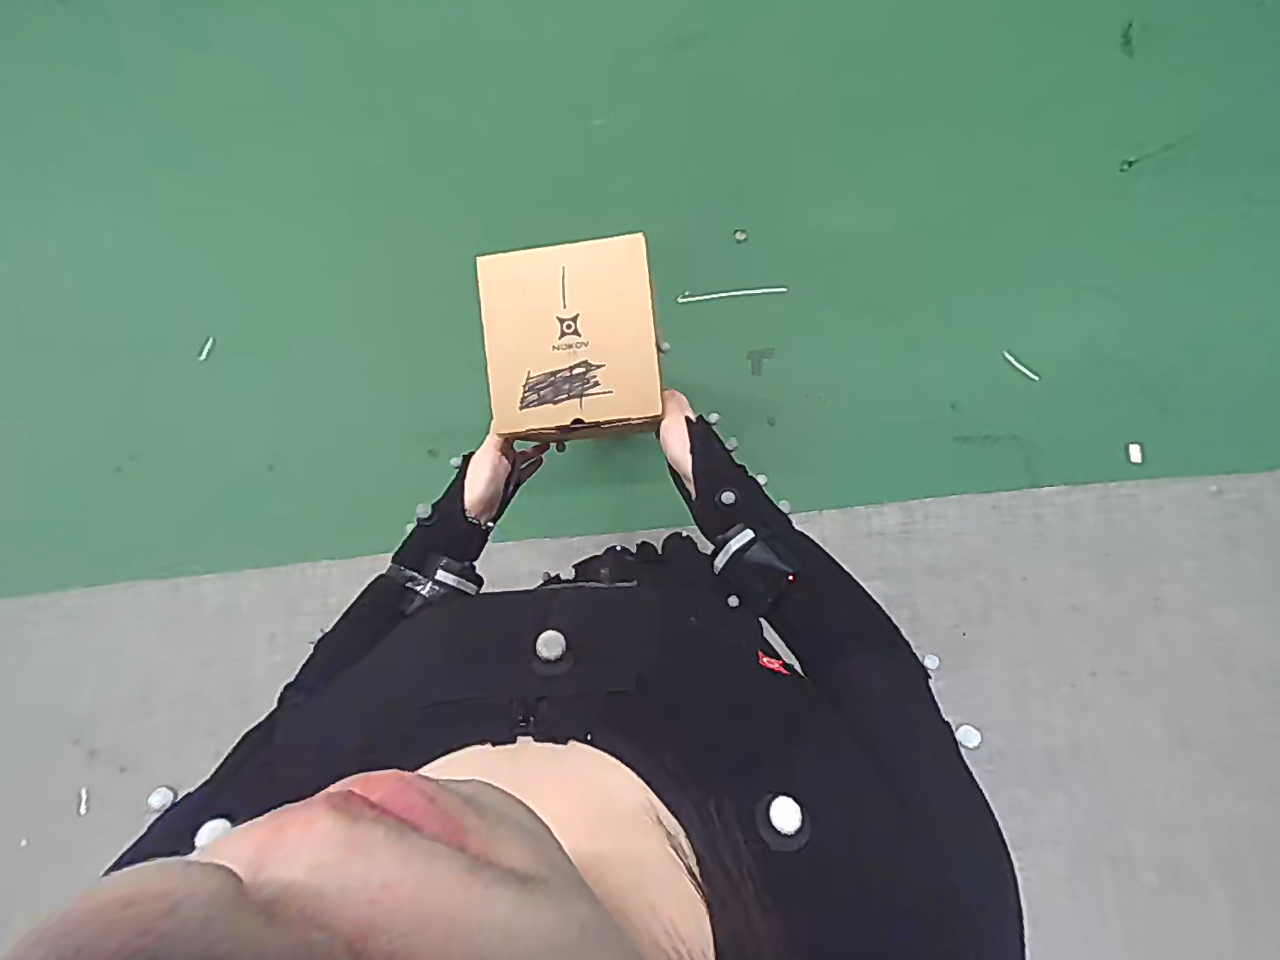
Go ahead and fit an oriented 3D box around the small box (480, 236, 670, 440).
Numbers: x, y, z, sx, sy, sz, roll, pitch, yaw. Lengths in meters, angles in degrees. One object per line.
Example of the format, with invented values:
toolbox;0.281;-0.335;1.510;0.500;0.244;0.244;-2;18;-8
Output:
small box;-0.057;-0.137;0.591;0.168;0.176;0.179;-5;91;5
